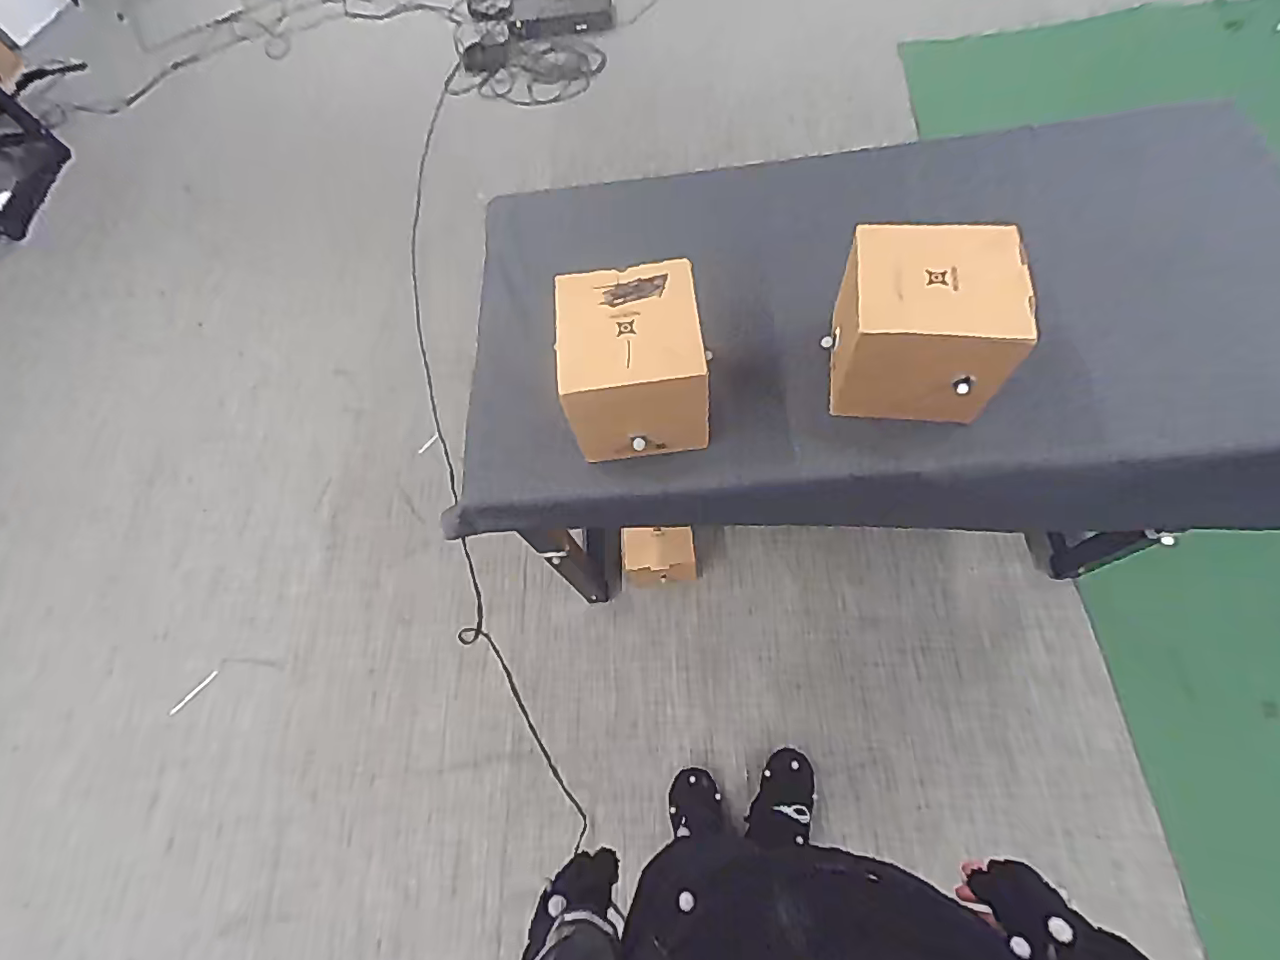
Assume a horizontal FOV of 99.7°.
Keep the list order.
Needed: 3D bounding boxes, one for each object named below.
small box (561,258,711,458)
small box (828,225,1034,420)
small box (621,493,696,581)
[{"bbox_3d":[-0.002,-0.149,0.692,0.168,0.176,0.179,-7,64,4],"label":"small box"},{"bbox_3d":[0.341,-0.188,0.672,0.179,0.176,0.168,4,65,10],"label":"small box"},{"bbox_3d":[0.049,0.151,1.359,0.168,0.176,0.179,-7,65,4],"label":"small box"}]
